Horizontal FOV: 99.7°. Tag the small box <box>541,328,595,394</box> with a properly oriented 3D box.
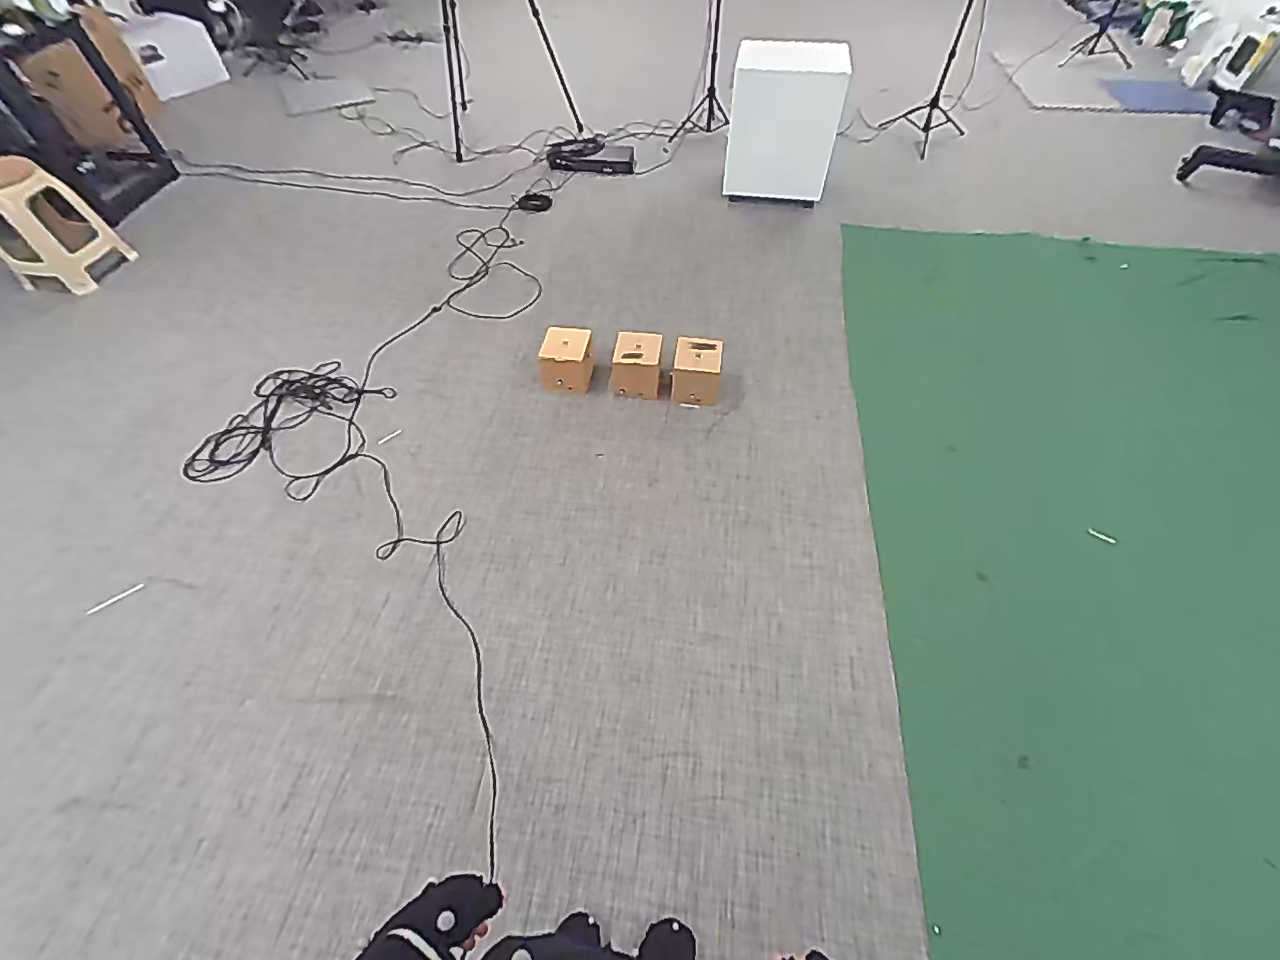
[{"bbox_3d":[-0.268,-0.453,2.065,0.168,0.176,0.179,6,54,6],"label":"small box"}]

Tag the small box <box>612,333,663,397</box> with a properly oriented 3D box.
[{"bbox_3d":[-0.004,-0.431,2.039,0.168,0.176,0.179,5,53,6],"label":"small box"}]
